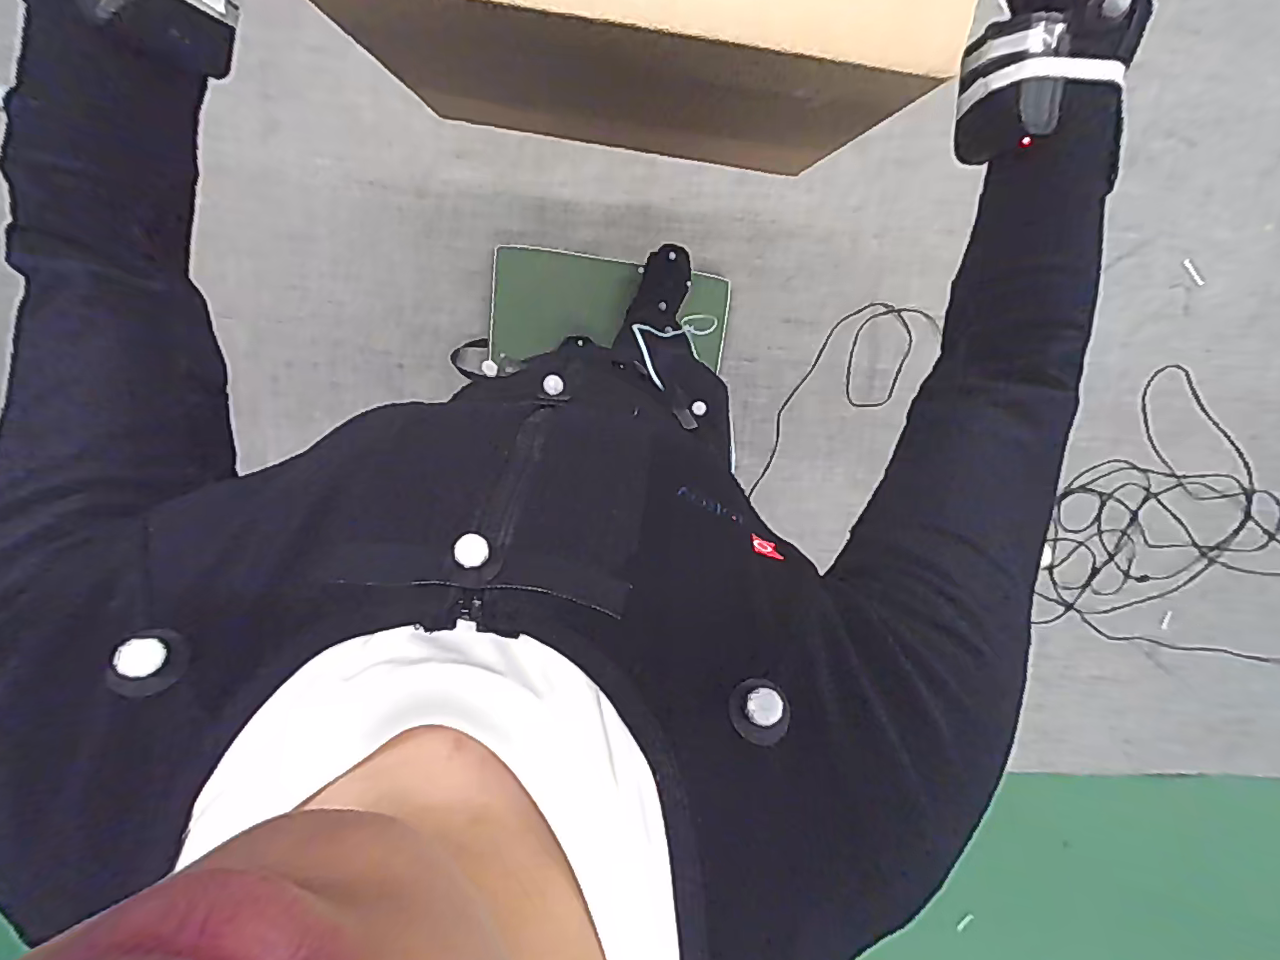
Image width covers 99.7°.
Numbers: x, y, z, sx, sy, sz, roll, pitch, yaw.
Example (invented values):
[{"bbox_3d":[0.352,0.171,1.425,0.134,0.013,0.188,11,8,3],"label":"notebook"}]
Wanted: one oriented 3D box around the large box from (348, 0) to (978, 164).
[{"bbox_3d":[0.012,-0.468,0.409,0.408,0.320,0.320,6,110,-5],"label":"large box"}]
